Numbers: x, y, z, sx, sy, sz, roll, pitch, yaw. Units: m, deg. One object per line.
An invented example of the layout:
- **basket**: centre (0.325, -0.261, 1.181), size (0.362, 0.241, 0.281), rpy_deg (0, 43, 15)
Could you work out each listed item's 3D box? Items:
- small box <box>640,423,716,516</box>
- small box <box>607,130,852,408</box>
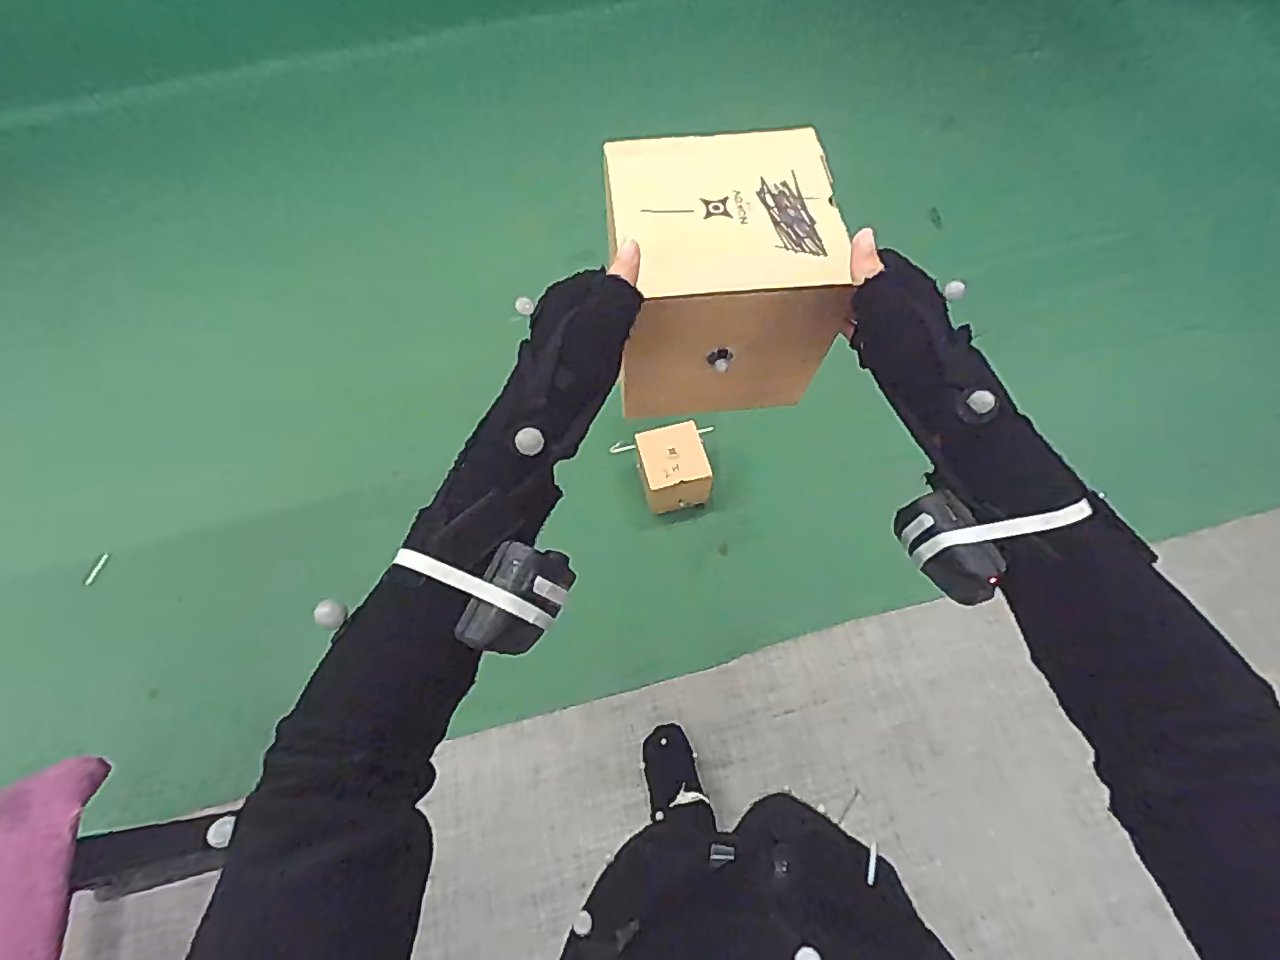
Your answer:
- **small box**: centre (0.099, -0.026, 1.477), size (0.168, 0.176, 0.179), rpy_deg (-14, 64, -4)
- **small box**: centre (0.060, -0.177, 0.484), size (0.179, 0.176, 0.168), rpy_deg (-2, 65, -2)
